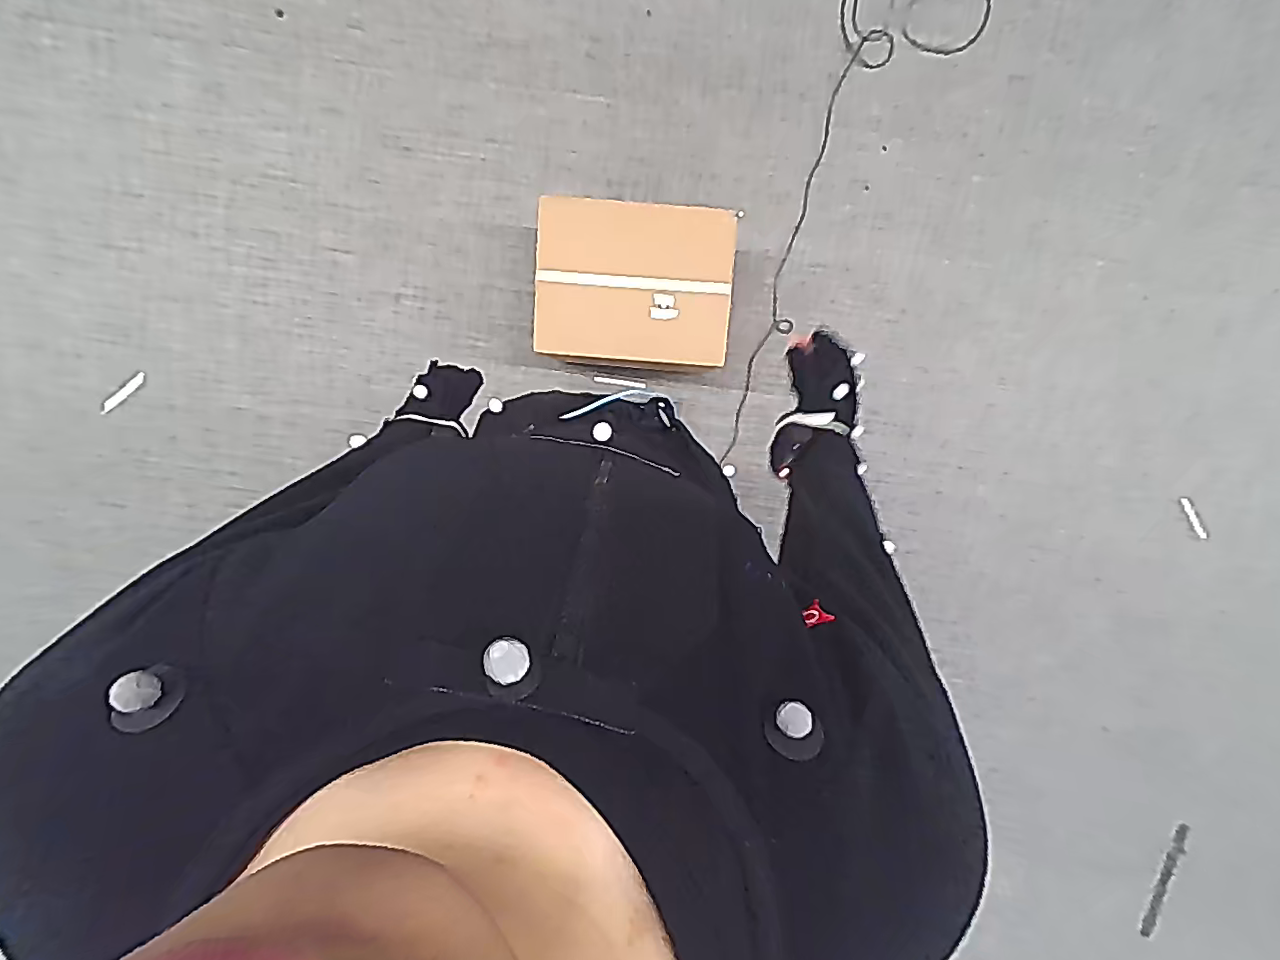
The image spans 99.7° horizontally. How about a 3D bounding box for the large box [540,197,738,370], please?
[{"bbox_3d":[-0.010,-0.434,1.269,0.408,0.320,0.320,4,99,-1],"label":"large box"}]
